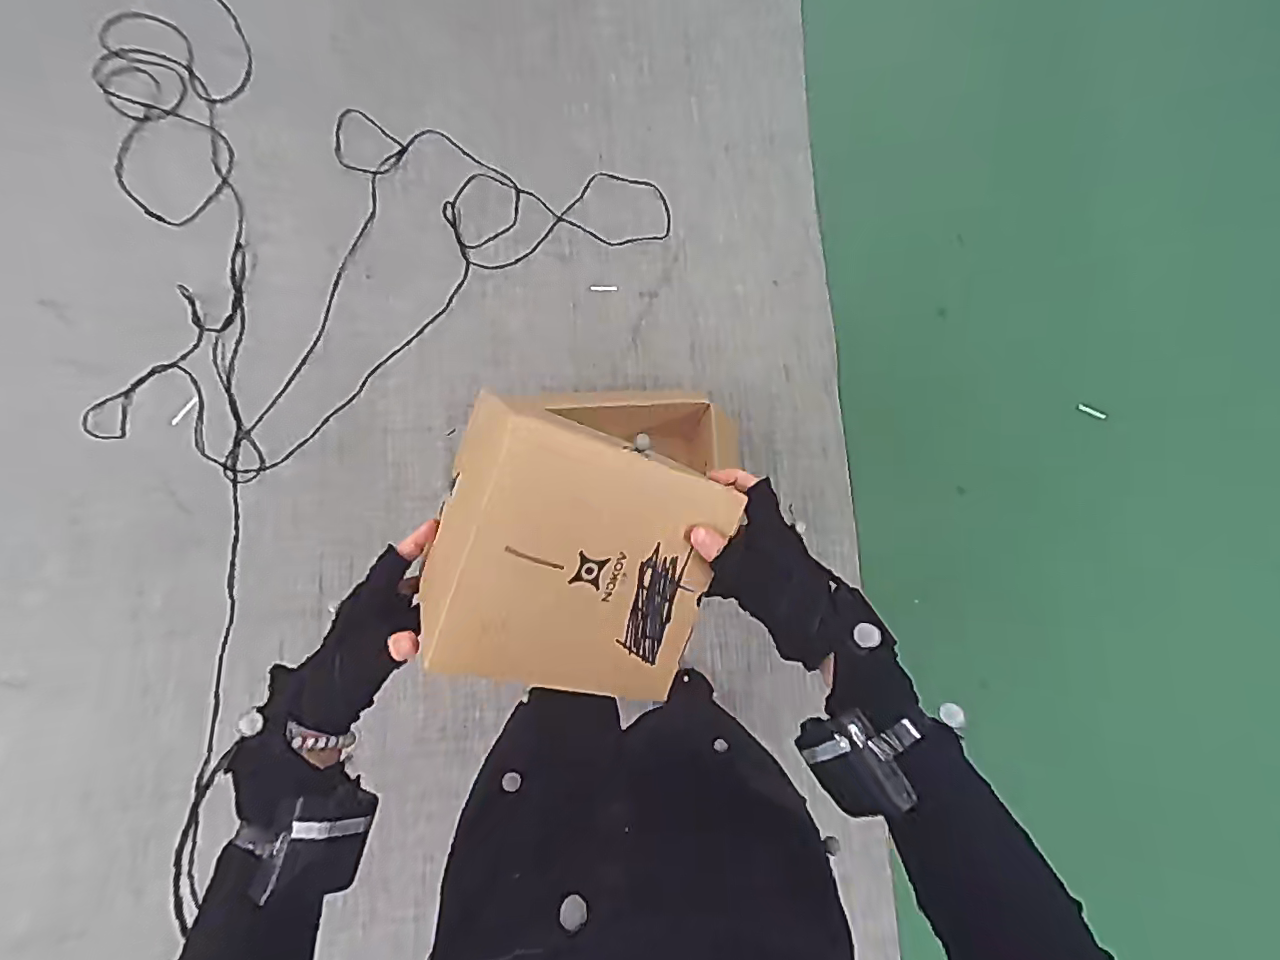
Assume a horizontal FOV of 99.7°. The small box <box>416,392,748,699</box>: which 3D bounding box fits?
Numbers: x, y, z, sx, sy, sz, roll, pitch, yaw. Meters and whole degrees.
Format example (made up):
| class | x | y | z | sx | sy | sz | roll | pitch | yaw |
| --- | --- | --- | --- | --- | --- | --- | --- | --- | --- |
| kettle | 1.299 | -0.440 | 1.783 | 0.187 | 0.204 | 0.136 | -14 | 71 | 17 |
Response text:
| class | x | y | z | sx | sy | sz | roll | pitch | yaw |
| --- | --- | --- | --- | --- | --- | --- | --- | --- | --- |
| small box | -0.057 | 0.038 | 0.418 | 0.179 | 0.176 | 0.168 | 21 | 94 | -25 |
